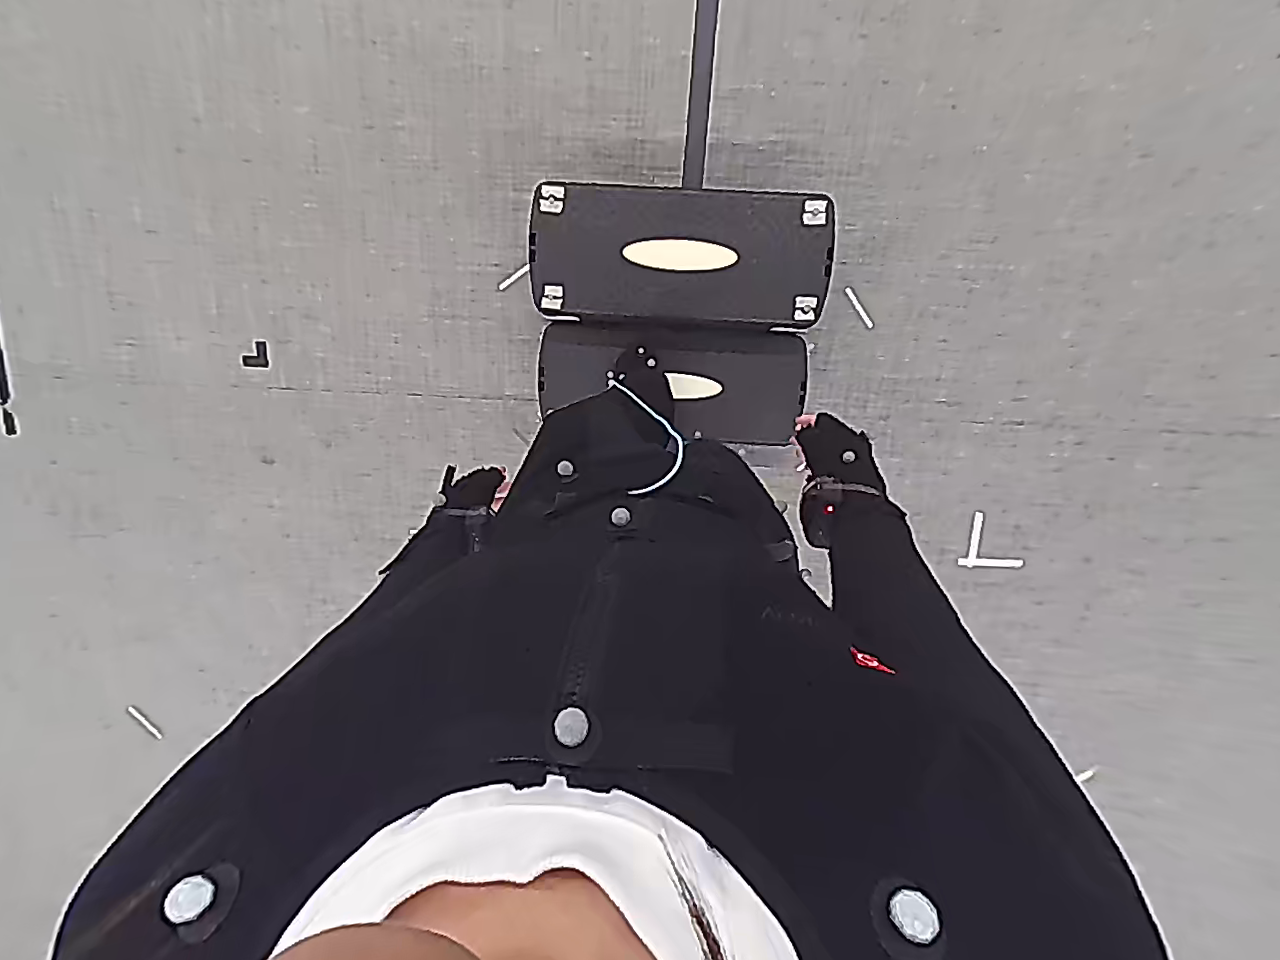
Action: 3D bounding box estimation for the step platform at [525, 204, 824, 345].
[{"bbox_3d":[0.076,-0.479,1.281,0.684,0.204,0.286,2,103,1],"label":"step platform"}]
